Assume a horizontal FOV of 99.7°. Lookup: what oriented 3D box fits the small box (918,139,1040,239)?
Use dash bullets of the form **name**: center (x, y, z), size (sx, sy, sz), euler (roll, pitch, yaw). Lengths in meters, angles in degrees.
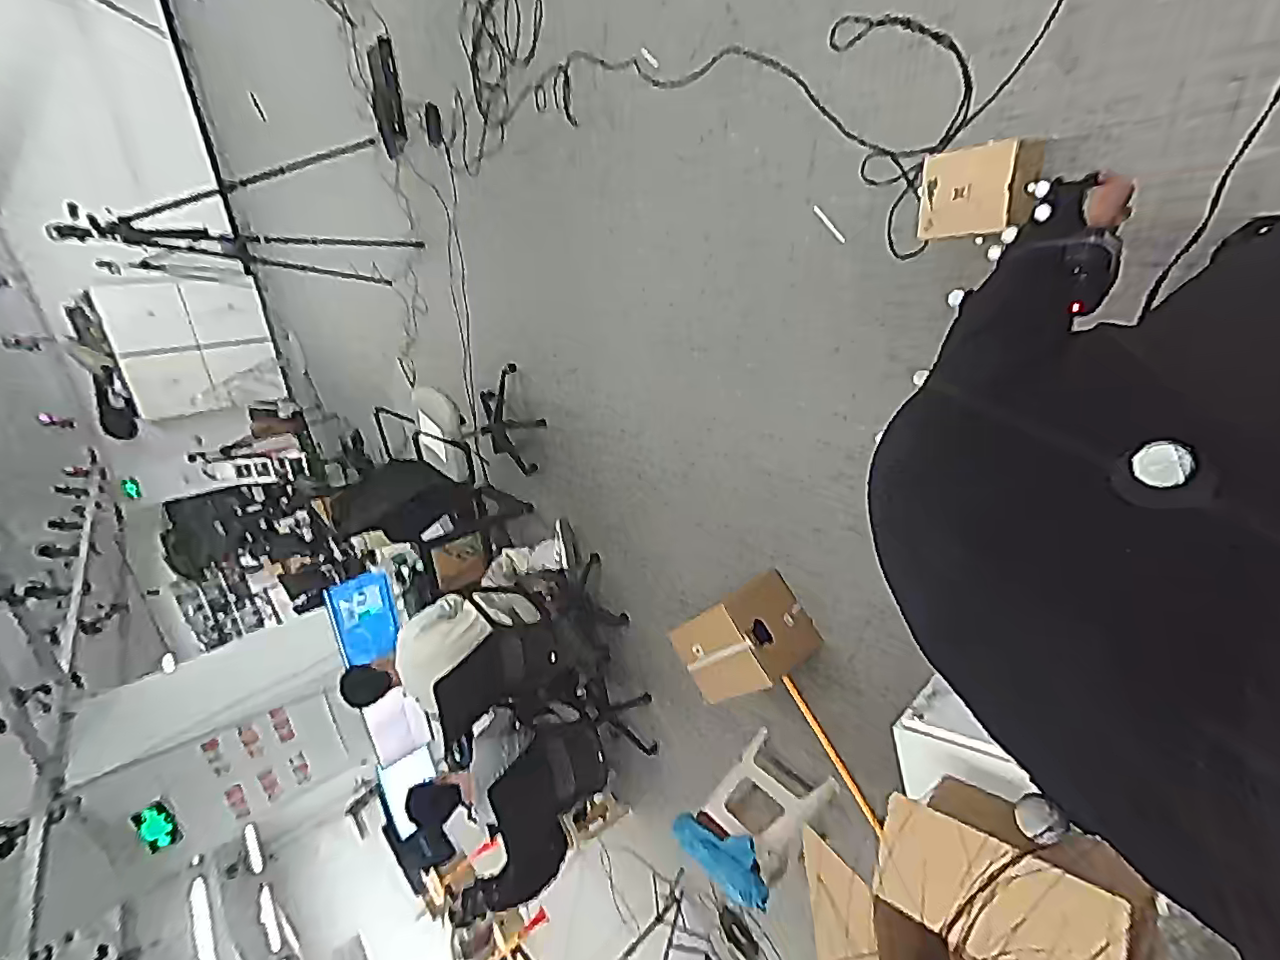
- **small box**: center (0.731, -0.619, 1.165), size (0.179, 0.176, 0.168), euler (17, 120, 44)
